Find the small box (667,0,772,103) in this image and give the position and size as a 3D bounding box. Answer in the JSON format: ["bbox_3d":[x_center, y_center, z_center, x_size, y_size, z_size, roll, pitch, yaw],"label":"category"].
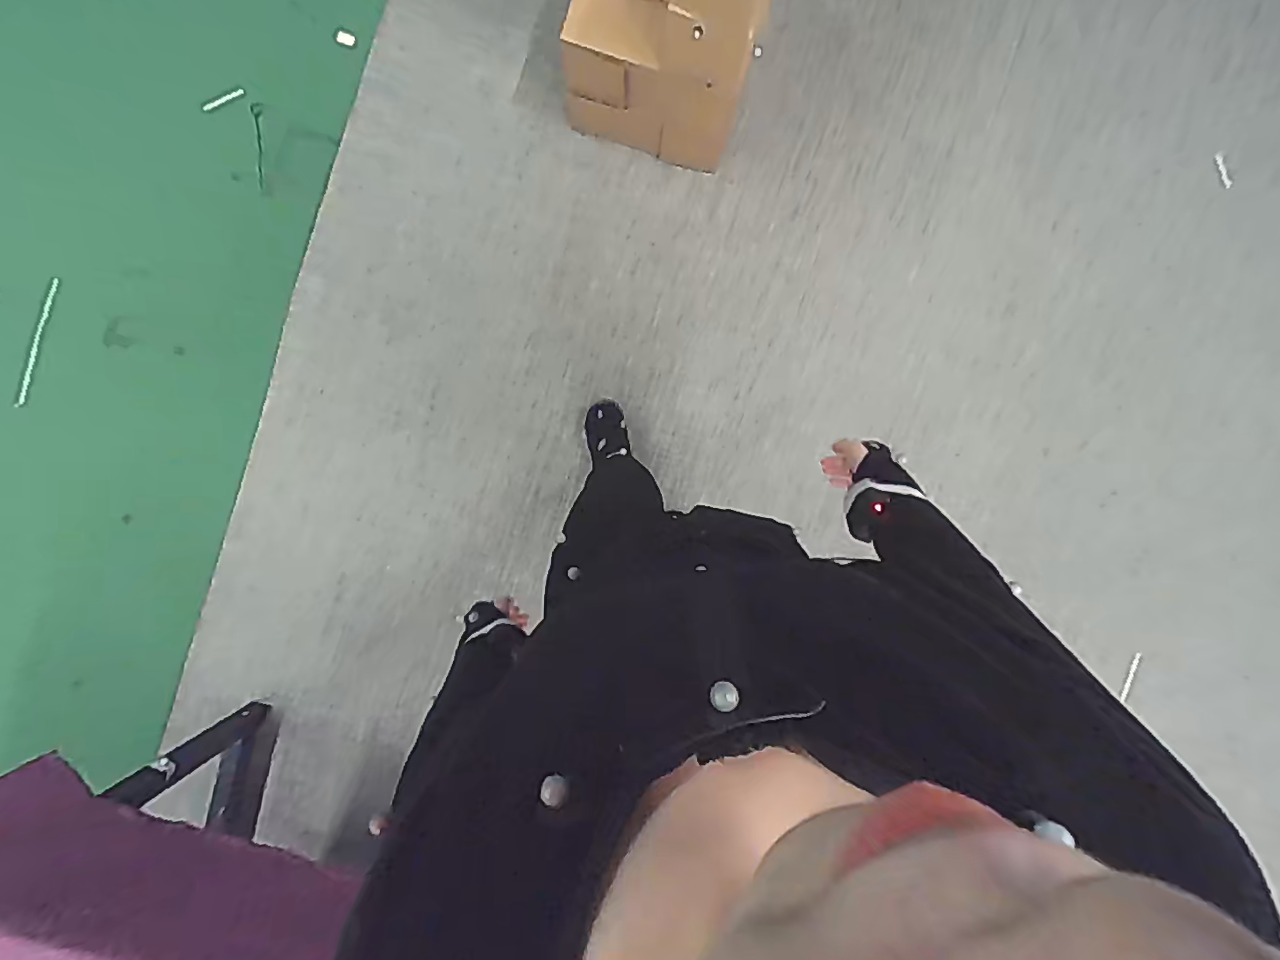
[{"bbox_3d":[0.157,-0.913,1.078,0.168,0.176,0.179,22,90,0],"label":"small box"}]
